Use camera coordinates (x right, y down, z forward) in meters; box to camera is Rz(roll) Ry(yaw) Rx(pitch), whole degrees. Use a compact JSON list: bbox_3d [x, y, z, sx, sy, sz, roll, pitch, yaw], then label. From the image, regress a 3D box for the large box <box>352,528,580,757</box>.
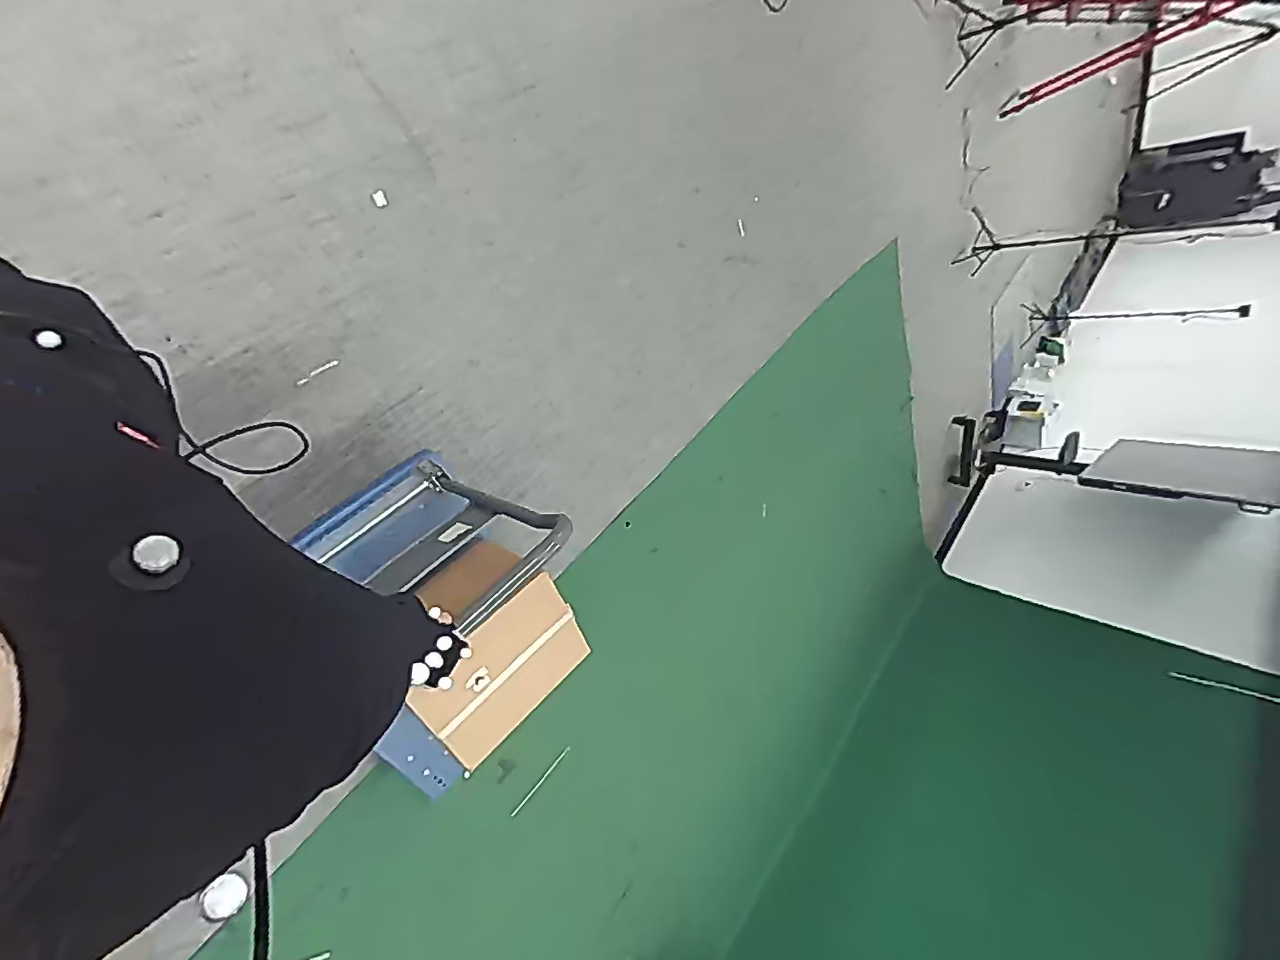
[{"bbox_3d":[-0.436,0.391,1.394,0.408,0.320,0.320,-40,125,-28],"label":"large box"}]
